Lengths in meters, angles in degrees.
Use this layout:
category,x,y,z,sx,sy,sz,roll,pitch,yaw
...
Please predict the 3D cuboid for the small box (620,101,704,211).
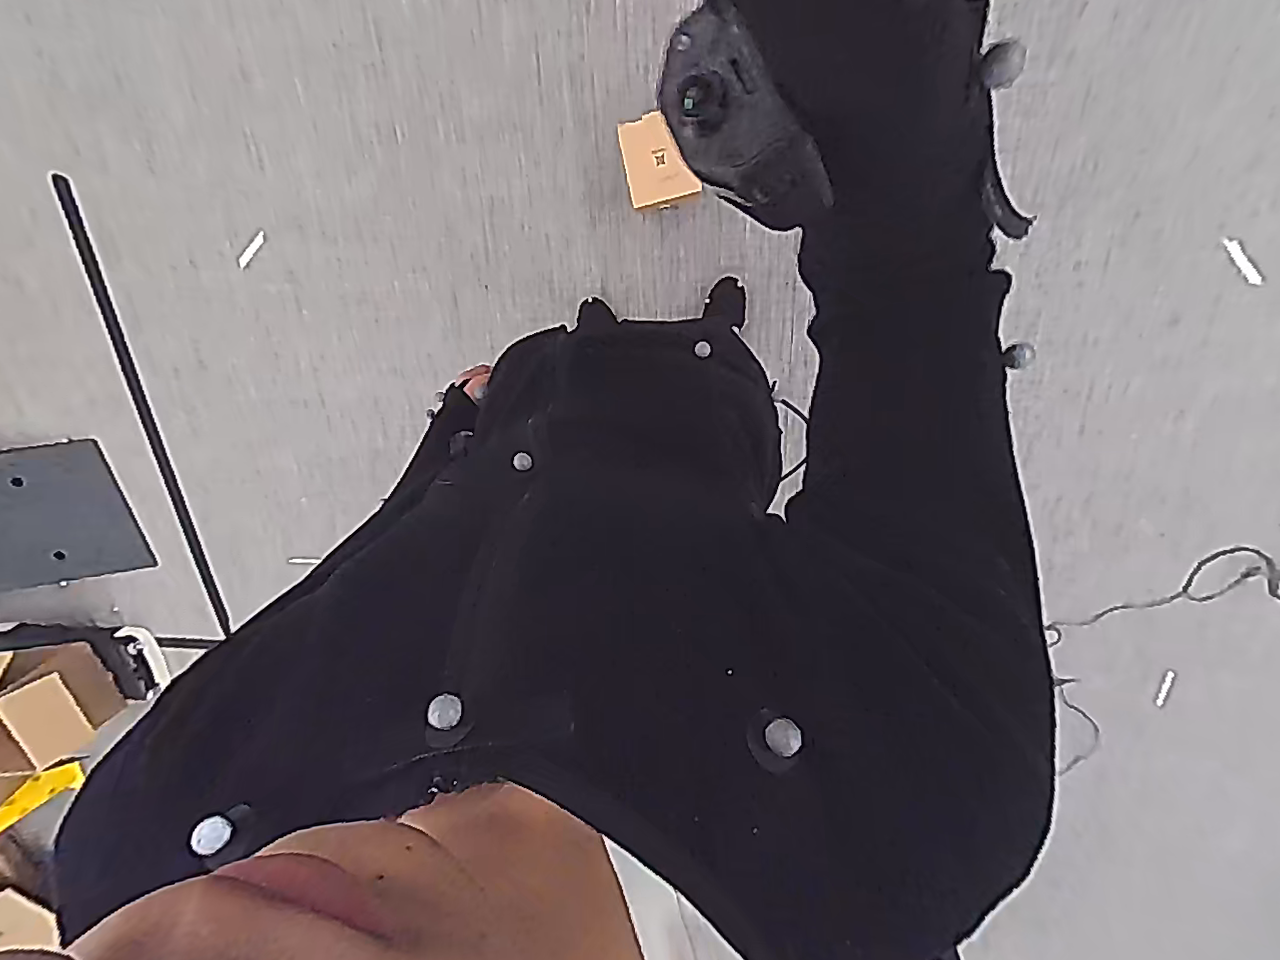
category,x,y,z,sx,sy,sz,roll,pitch,yaw
small box,0.057,-0.761,1.288,0.168,0.176,0.179,-10,110,10
